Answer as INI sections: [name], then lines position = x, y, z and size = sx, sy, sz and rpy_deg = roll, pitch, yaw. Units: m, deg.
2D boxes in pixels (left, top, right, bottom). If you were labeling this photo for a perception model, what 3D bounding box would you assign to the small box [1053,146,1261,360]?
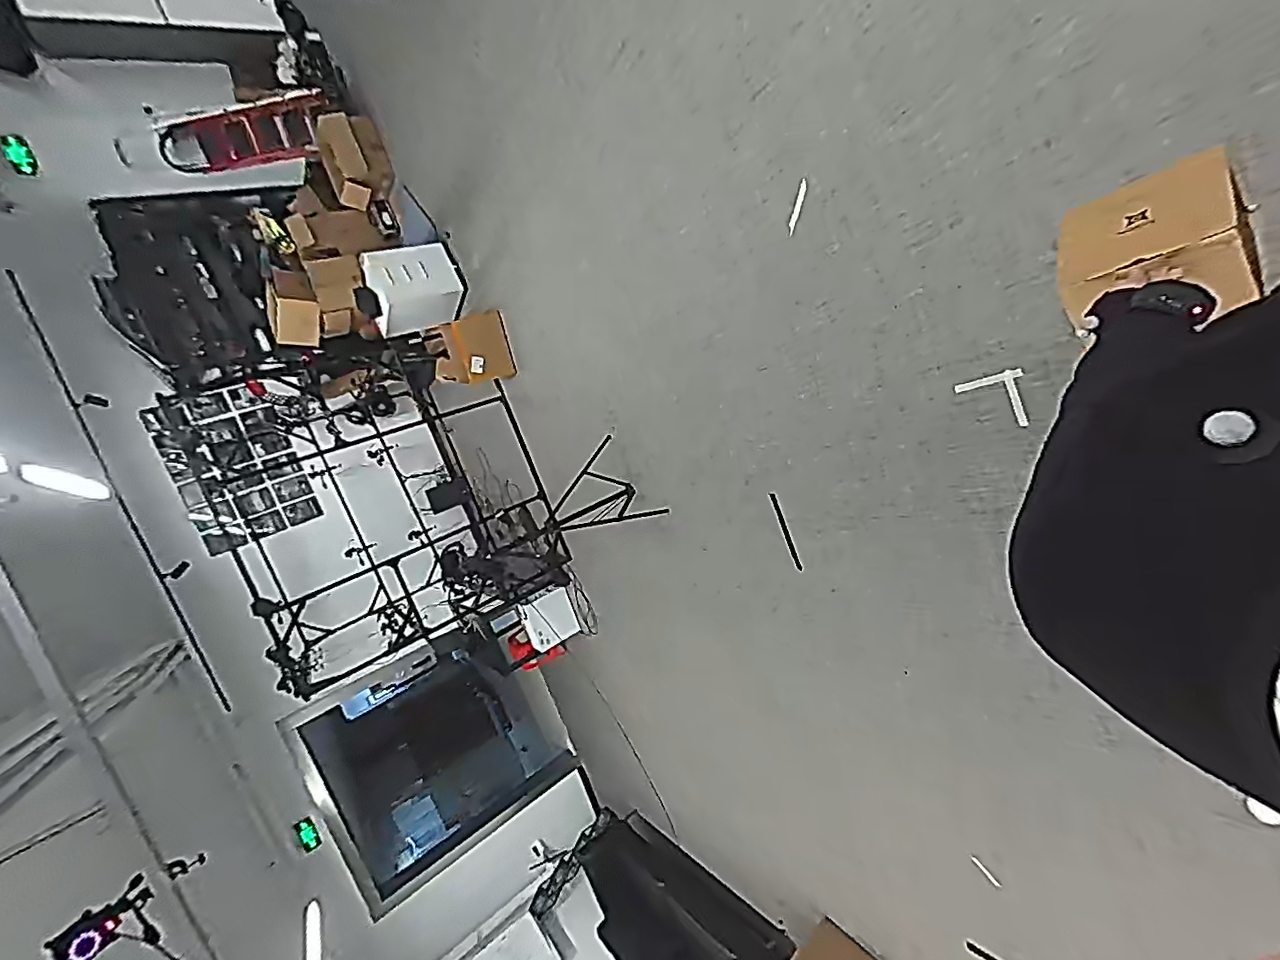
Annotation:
[small box]
position = 0.684, -0.283, 0.720
size = 0.176, 0.179, 0.168
rpy_deg = 40, 151, -25
